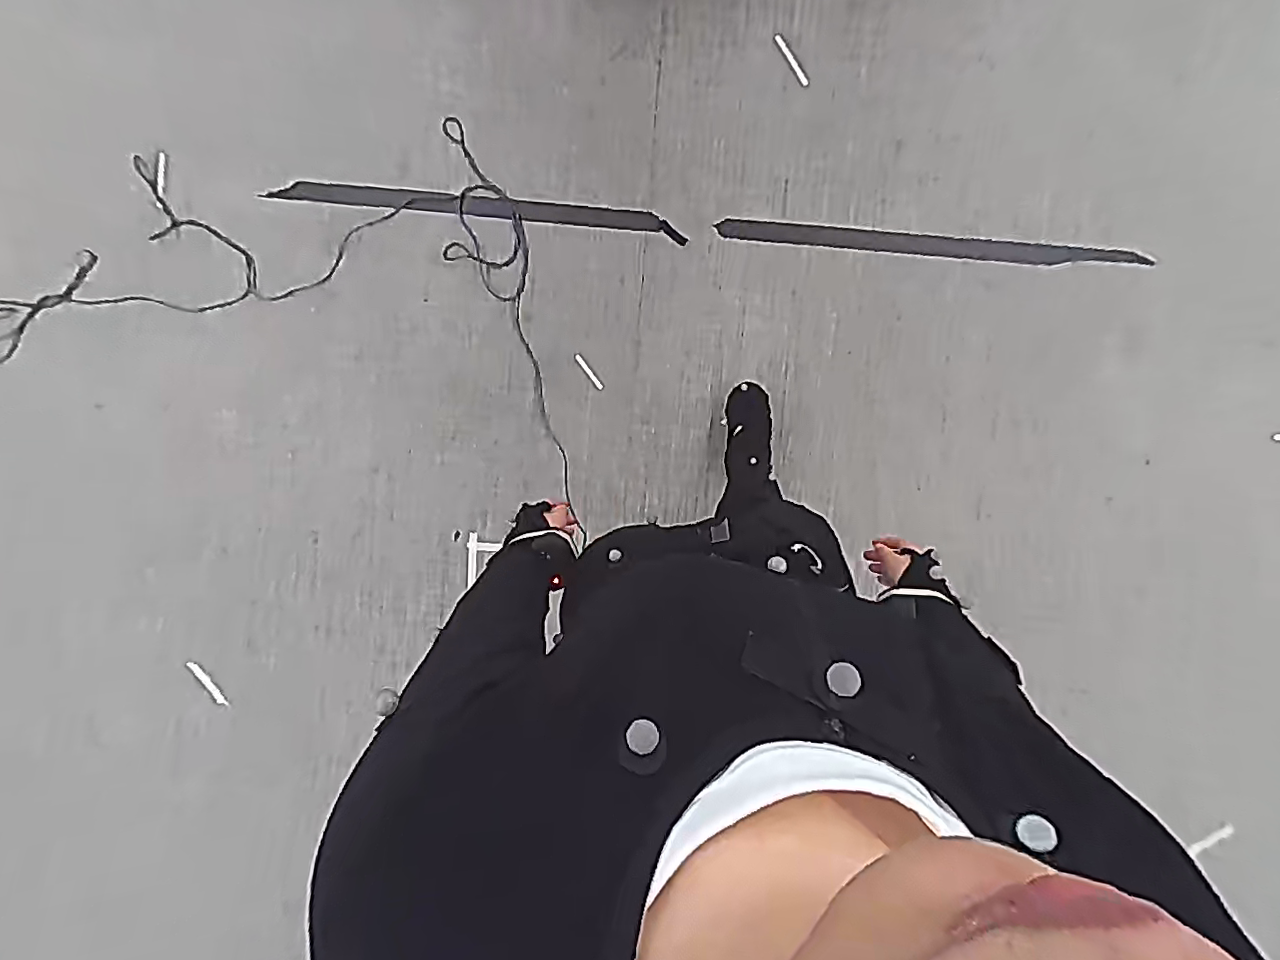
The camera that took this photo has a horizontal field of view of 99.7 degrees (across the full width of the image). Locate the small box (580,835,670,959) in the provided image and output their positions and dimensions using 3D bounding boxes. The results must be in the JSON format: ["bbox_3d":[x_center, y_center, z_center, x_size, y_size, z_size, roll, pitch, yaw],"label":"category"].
[{"bbox_3d":[-0.027,0.895,1.138,0.168,0.176,0.179,7,92,1],"label":"small box"}]
